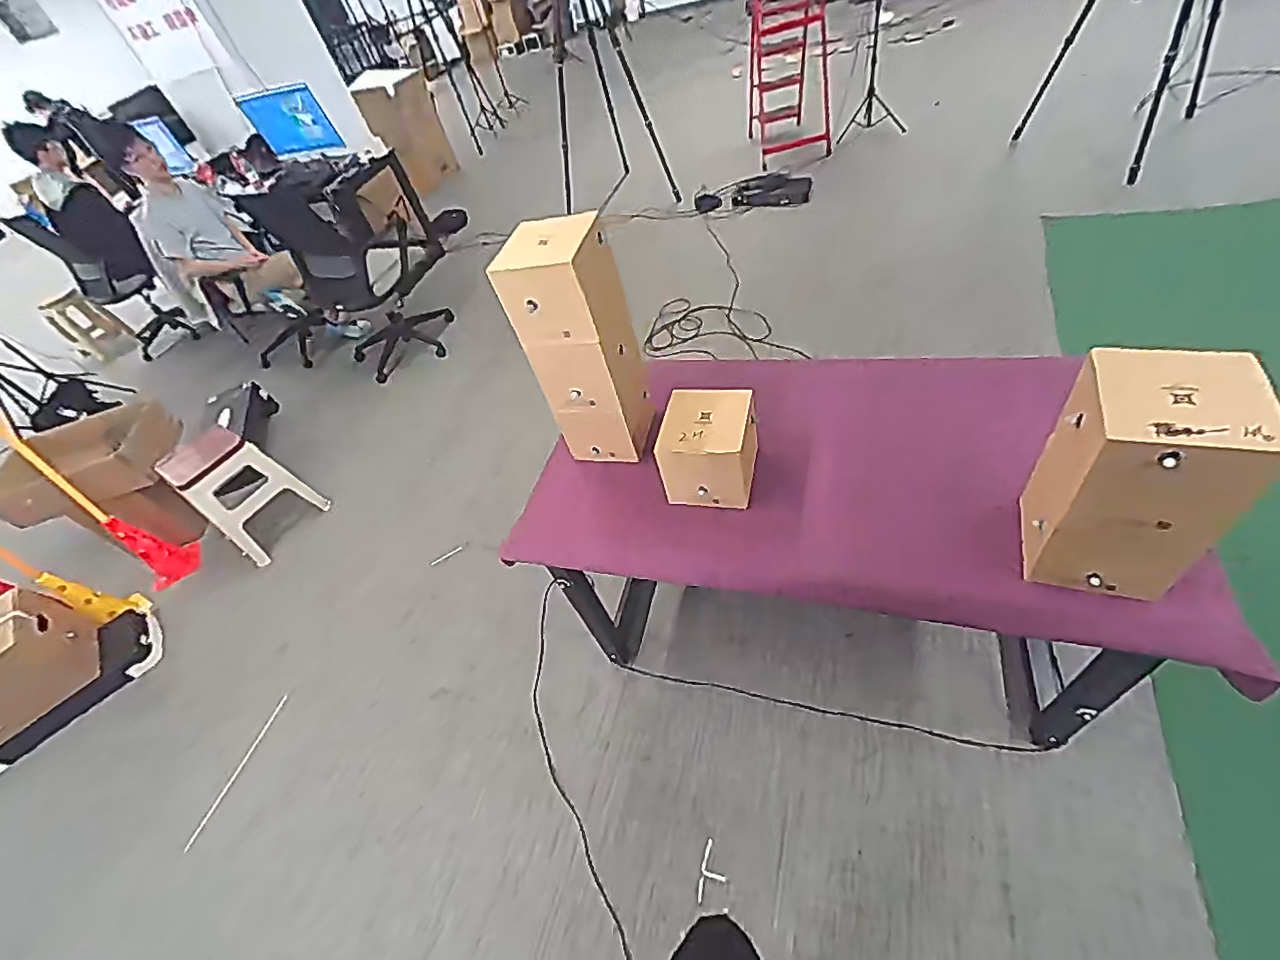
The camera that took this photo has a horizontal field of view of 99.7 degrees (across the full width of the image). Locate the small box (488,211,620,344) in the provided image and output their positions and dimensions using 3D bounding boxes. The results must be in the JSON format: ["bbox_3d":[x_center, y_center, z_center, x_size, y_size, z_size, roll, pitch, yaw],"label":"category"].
[{"bbox_3d":[-0.148,-0.369,1.012,0.168,0.176,0.179,1,51,19],"label":"small box"}]

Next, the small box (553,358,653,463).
[{"bbox_3d":[-0.076,-0.162,1.252,0.168,0.176,0.179,3,52,19],"label":"small box"}]

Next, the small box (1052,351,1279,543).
[{"bbox_3d":[0.664,-0.046,0.705,0.168,0.176,0.179,8,52,24],"label":"small box"}]

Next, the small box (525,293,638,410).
[{"bbox_3d":[-0.111,-0.266,1.132,0.168,0.176,0.179,2,52,19],"label":"small box"}]

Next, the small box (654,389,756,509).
[{"bbox_3d":[0.142,-0.065,1.104,0.168,0.176,0.179,4,52,20],"label":"small box"}]
